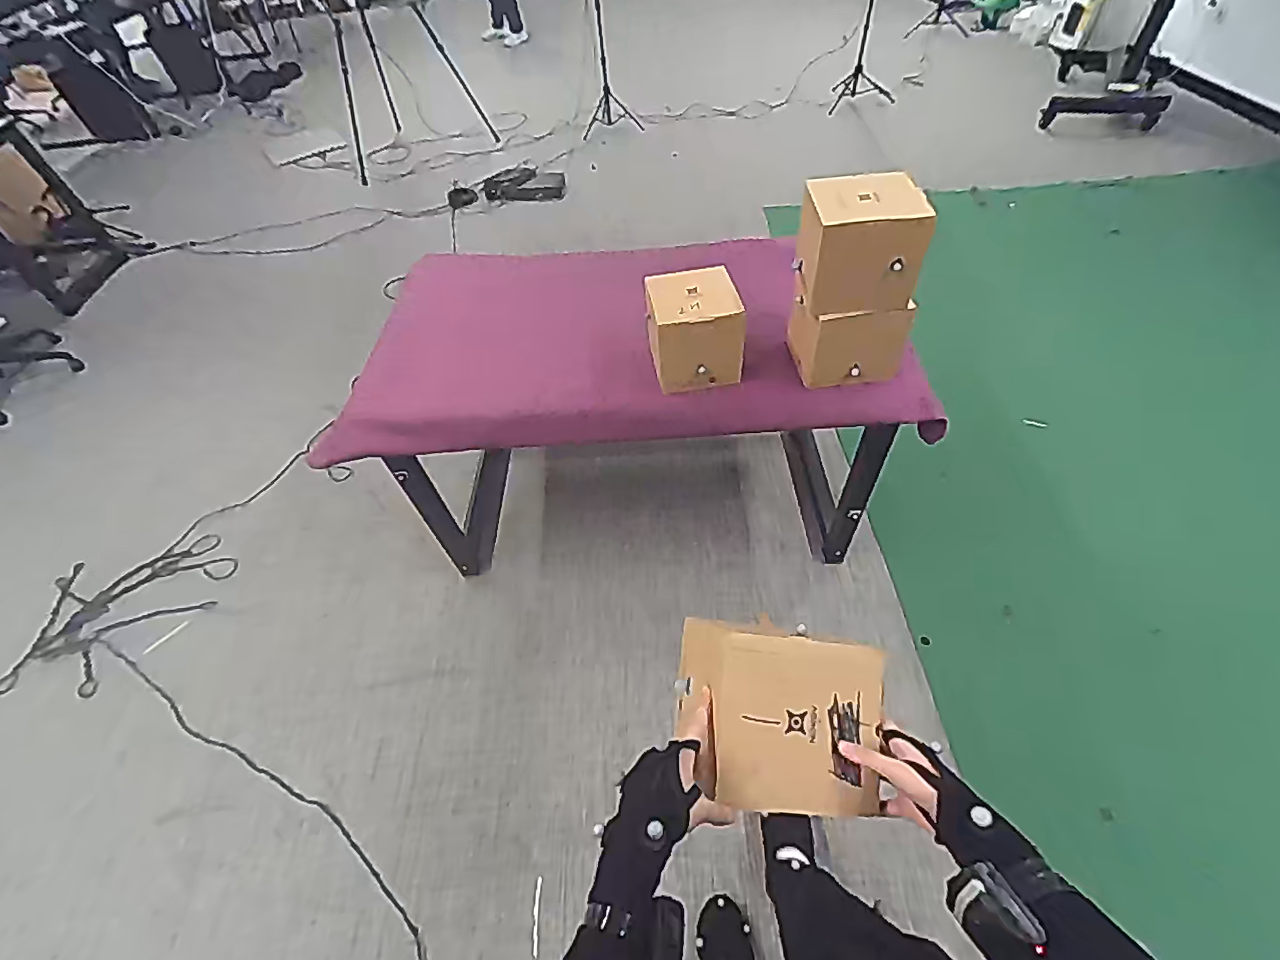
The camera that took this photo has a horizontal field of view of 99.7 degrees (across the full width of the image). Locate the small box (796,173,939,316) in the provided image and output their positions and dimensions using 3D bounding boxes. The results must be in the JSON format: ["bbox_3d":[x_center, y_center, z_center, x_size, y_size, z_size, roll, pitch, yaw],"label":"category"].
[{"bbox_3d":[0.383,-0.408,0.947,0.179,0.176,0.168,-3,51,6],"label":"small box"}]

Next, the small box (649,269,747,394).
[{"bbox_3d":[0.113,-0.301,1.102,0.168,0.176,0.179,-9,50,0],"label":"small box"}]

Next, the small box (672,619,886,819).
[{"bbox_3d":[0.147,0.255,0.614,0.179,0.176,0.168,9,80,-8],"label":"small box"}]

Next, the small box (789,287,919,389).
[{"bbox_3d":[0.409,-0.301,1.068,0.179,0.176,0.168,-7,51,1],"label":"small box"}]
